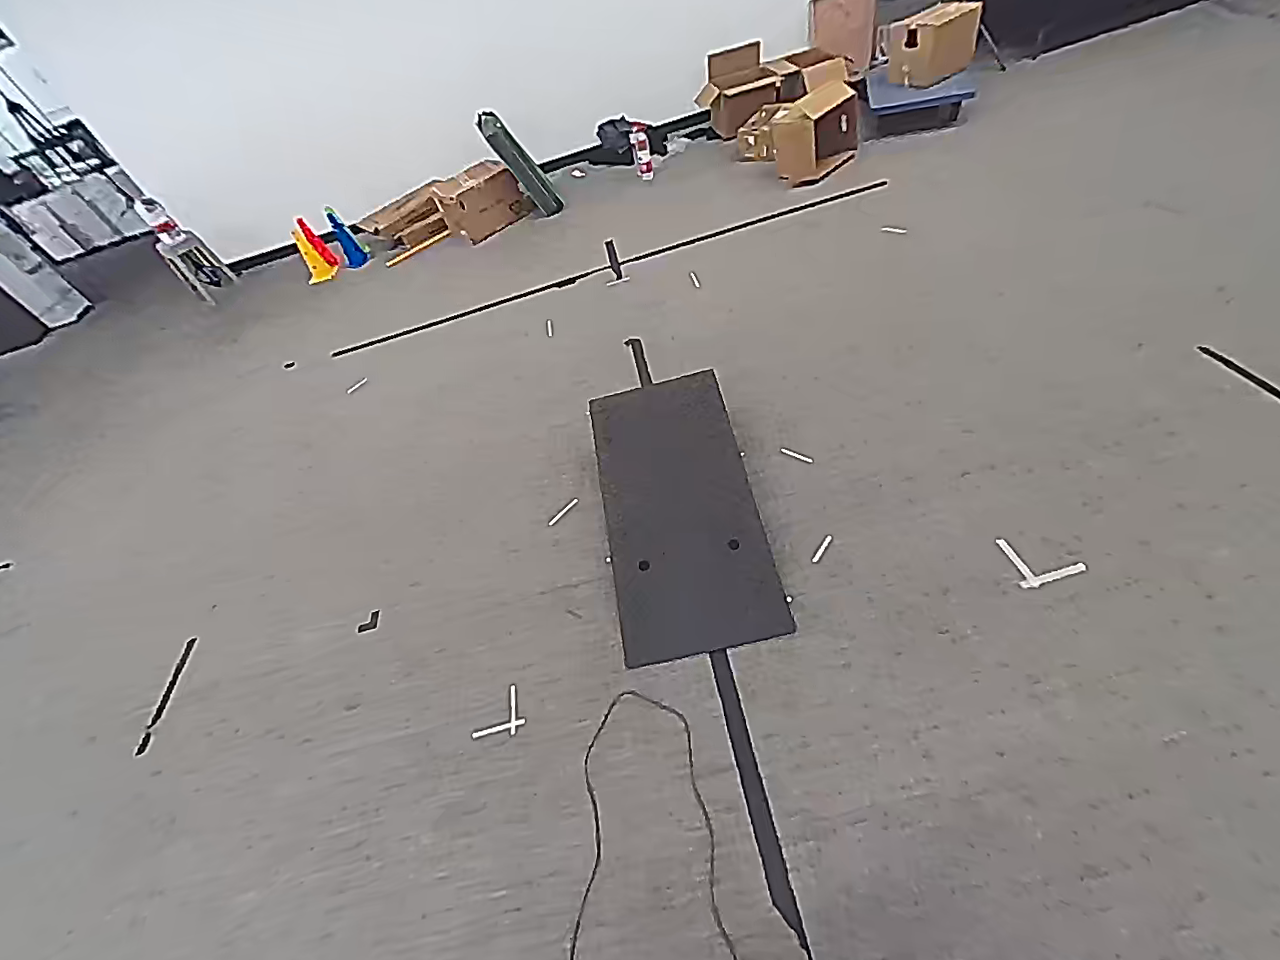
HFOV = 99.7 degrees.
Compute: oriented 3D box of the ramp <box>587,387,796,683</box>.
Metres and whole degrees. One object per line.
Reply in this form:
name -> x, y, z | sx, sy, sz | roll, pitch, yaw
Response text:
ramp -> 0.120, 0.115, 1.798 | 0.509, 0.206, 0.991 | -16, 46, 2
